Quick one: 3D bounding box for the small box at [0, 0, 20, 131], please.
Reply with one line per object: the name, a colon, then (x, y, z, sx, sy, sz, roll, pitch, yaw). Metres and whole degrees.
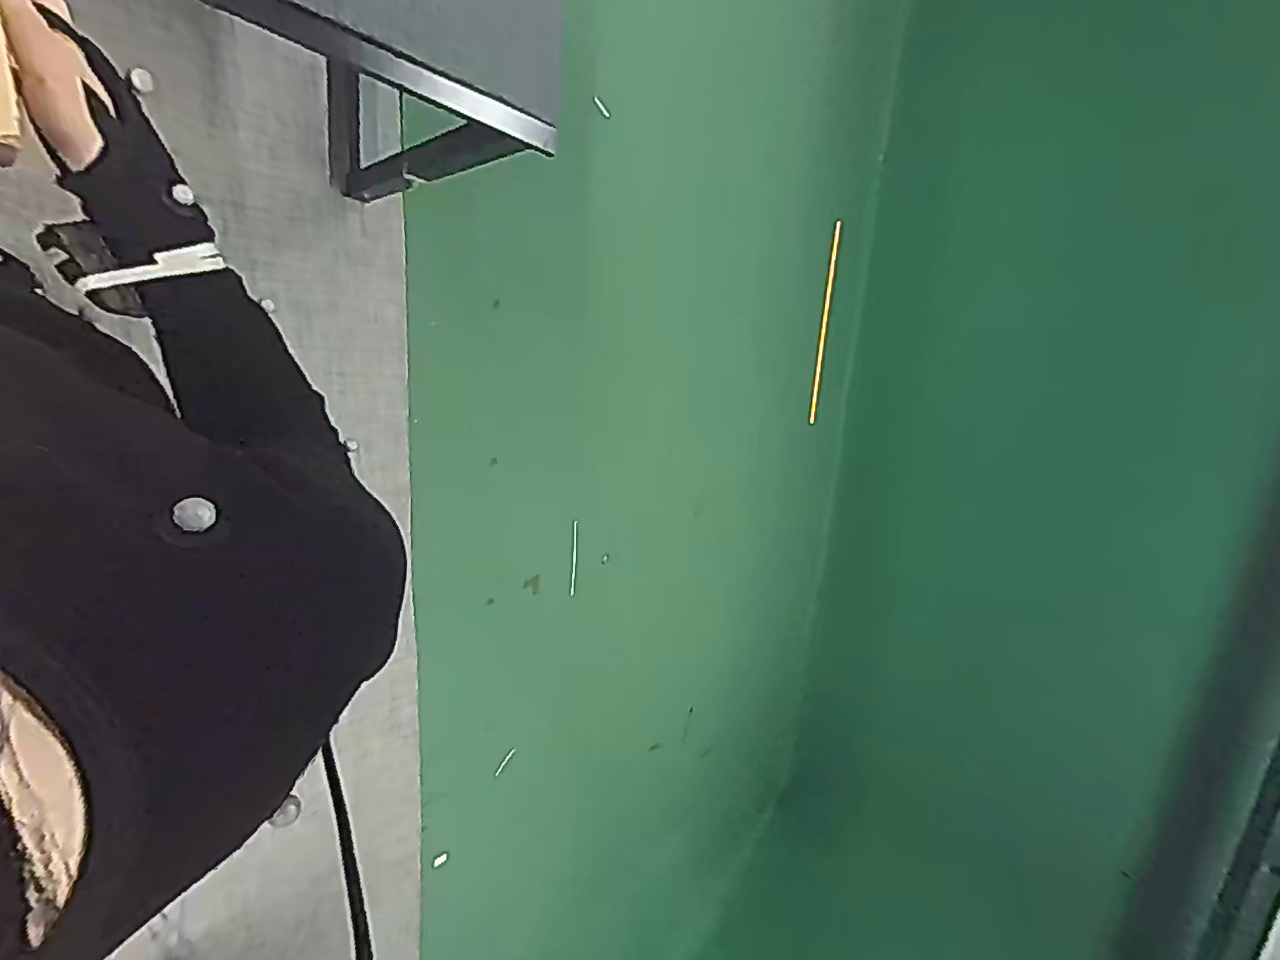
small box: (-0.413, -0.274, 0.231, 0.168, 0.176, 0.179, -13, 117, -50)
